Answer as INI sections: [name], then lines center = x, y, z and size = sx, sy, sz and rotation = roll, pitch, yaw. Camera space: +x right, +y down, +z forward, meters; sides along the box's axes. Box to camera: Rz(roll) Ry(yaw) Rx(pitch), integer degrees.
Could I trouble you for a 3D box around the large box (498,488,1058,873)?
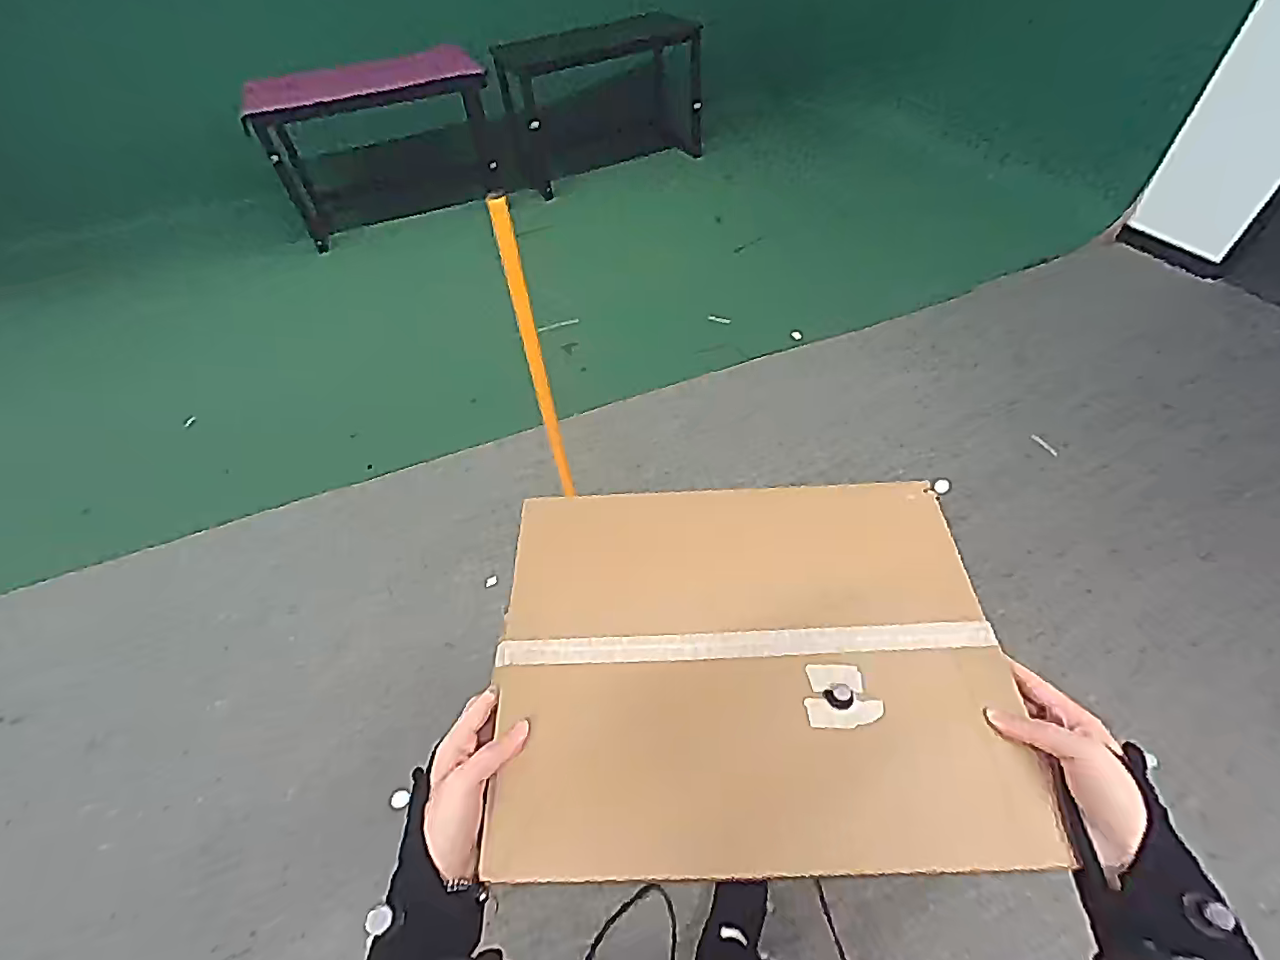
[large box]
center = 0.095, 0.226, 0.584
size = 0.408, 0.320, 0.320
rotation = -2, 55, 1
